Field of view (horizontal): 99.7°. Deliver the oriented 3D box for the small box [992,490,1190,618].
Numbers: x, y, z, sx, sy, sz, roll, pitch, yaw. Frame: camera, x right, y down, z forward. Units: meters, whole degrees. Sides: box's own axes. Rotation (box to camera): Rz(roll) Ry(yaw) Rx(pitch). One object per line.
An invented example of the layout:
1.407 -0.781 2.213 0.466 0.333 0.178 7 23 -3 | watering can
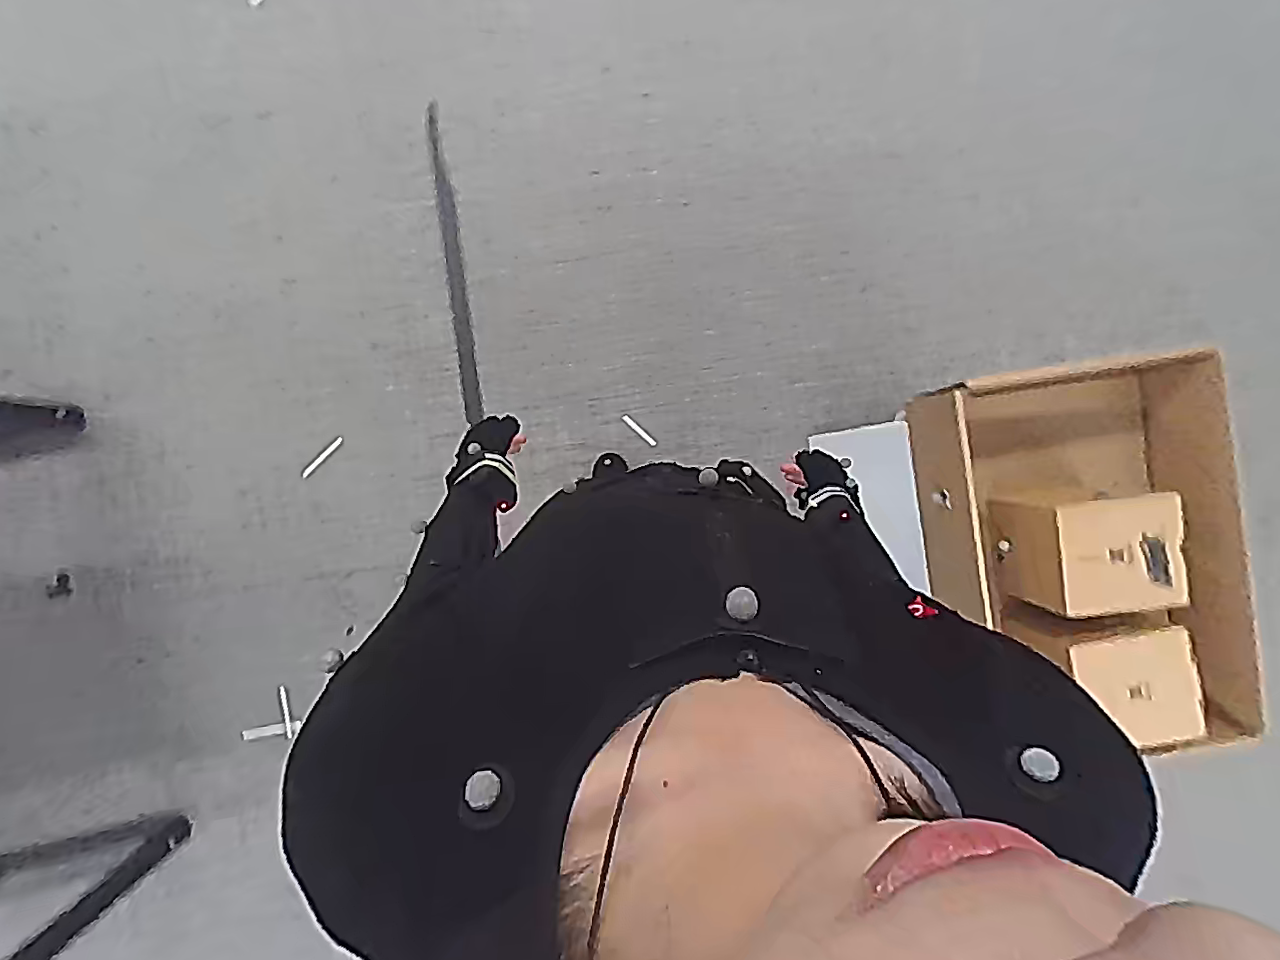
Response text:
0.707 0.109 0.864 0.179 0.176 0.168 -7 91 2 | small box
